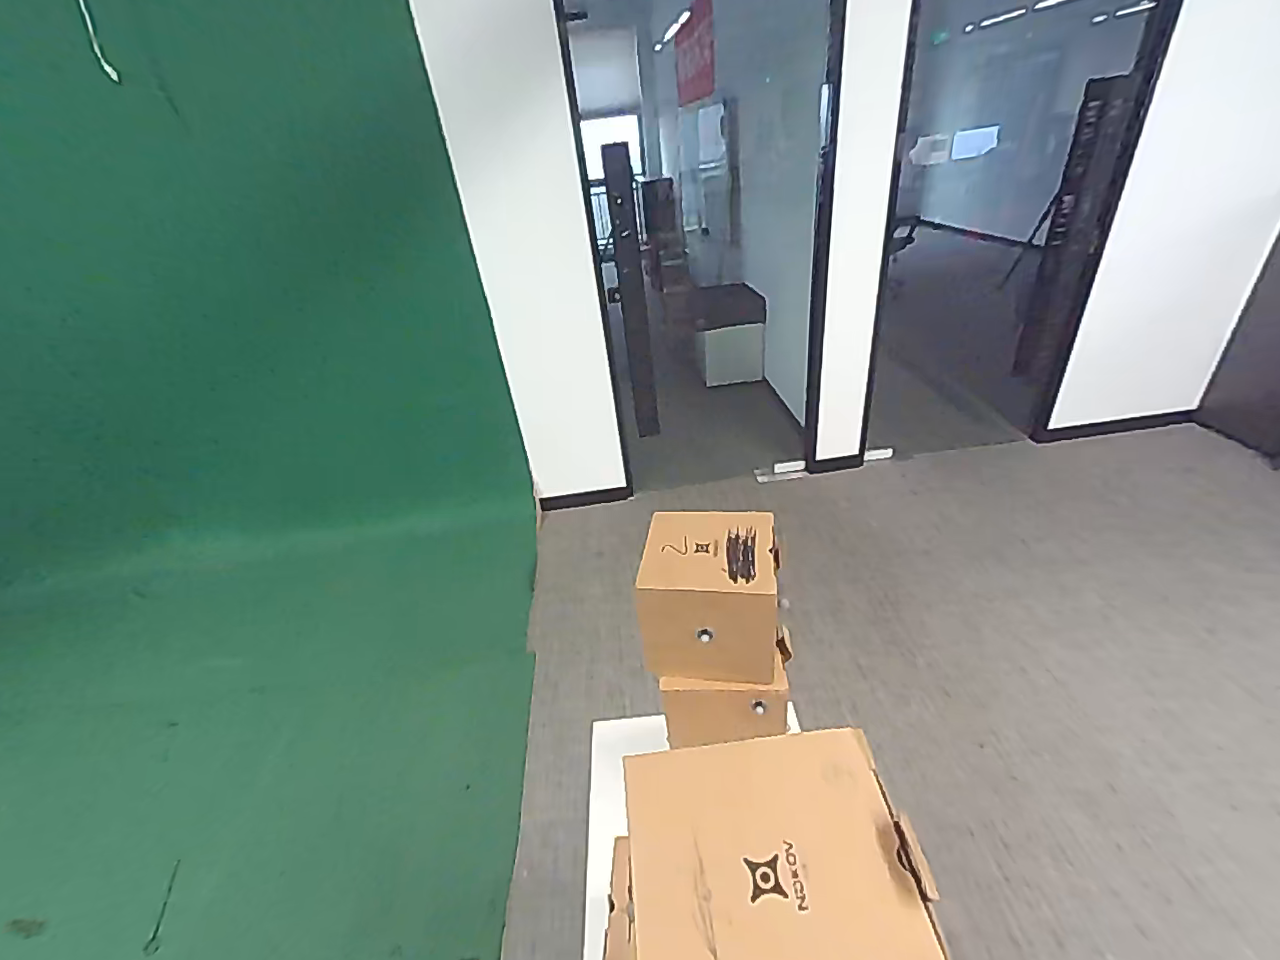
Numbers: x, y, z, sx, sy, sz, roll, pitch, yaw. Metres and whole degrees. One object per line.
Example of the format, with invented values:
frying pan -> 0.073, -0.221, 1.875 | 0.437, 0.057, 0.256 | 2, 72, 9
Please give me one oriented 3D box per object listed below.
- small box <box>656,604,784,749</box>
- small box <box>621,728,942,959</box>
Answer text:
small box -> 0.123, 0.312, 0.837 | 0.179, 0.176, 0.168 | -3, 32, 7
small box -> 0.086, 0.304, 0.389 | 0.179, 0.176, 0.168 | -8, 41, 0
